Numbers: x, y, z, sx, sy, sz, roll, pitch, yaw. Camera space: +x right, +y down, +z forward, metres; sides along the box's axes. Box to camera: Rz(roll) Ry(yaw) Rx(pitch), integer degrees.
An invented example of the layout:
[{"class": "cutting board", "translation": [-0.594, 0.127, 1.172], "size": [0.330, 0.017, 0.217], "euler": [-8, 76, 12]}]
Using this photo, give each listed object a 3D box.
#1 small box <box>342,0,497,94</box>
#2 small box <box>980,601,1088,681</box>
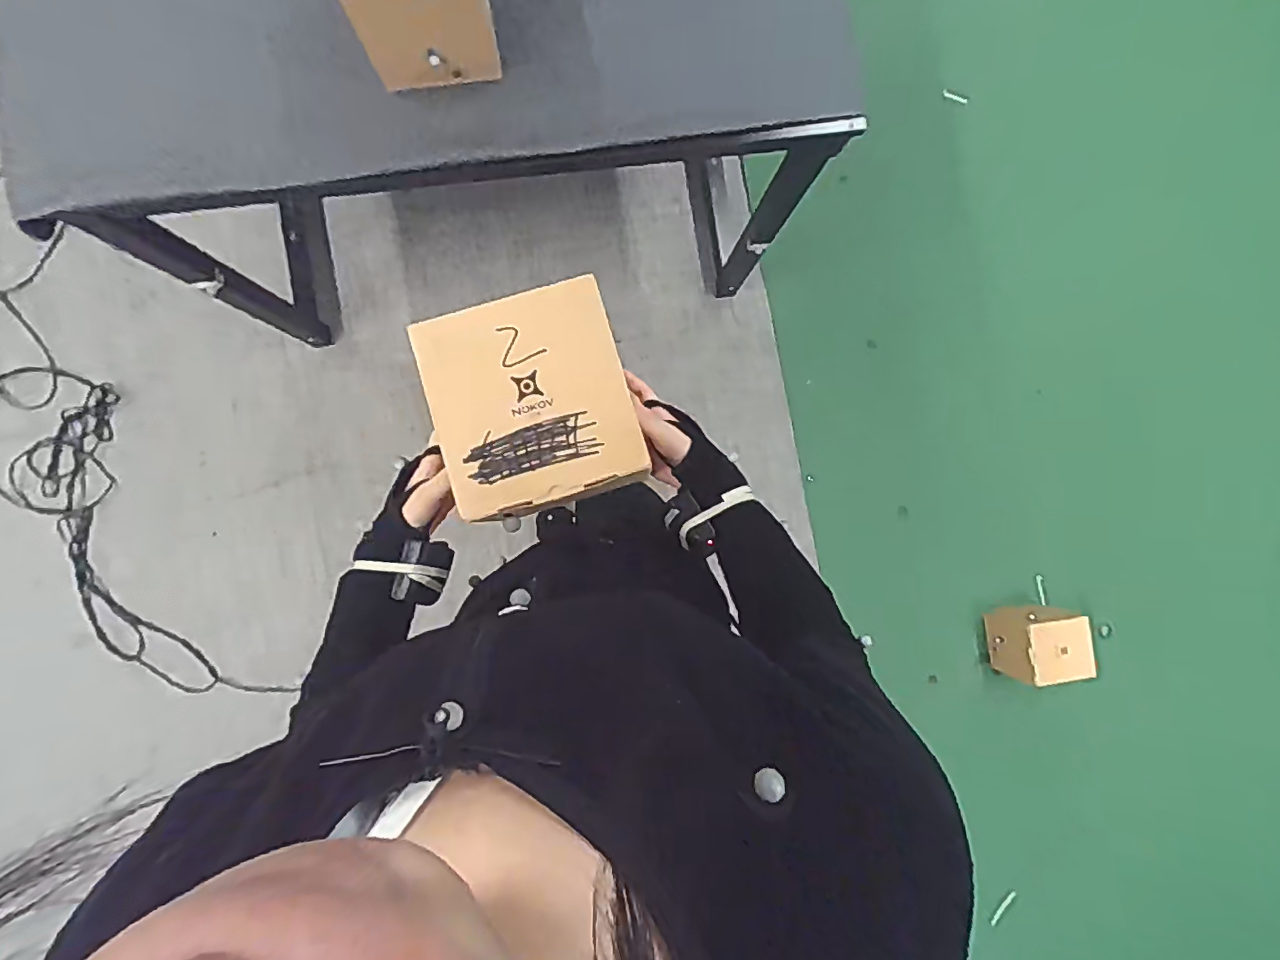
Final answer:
[{"class": "small box", "translation": [-0.291, -0.649, 0.698], "size": [0.168, 0.176, 0.179], "euler": [-10, 89, -5]}, {"class": "small box", "translation": [1.107, 0.447, 1.529], "size": [0.179, 0.176, 0.168], "euler": [-8, 89, -5]}]
